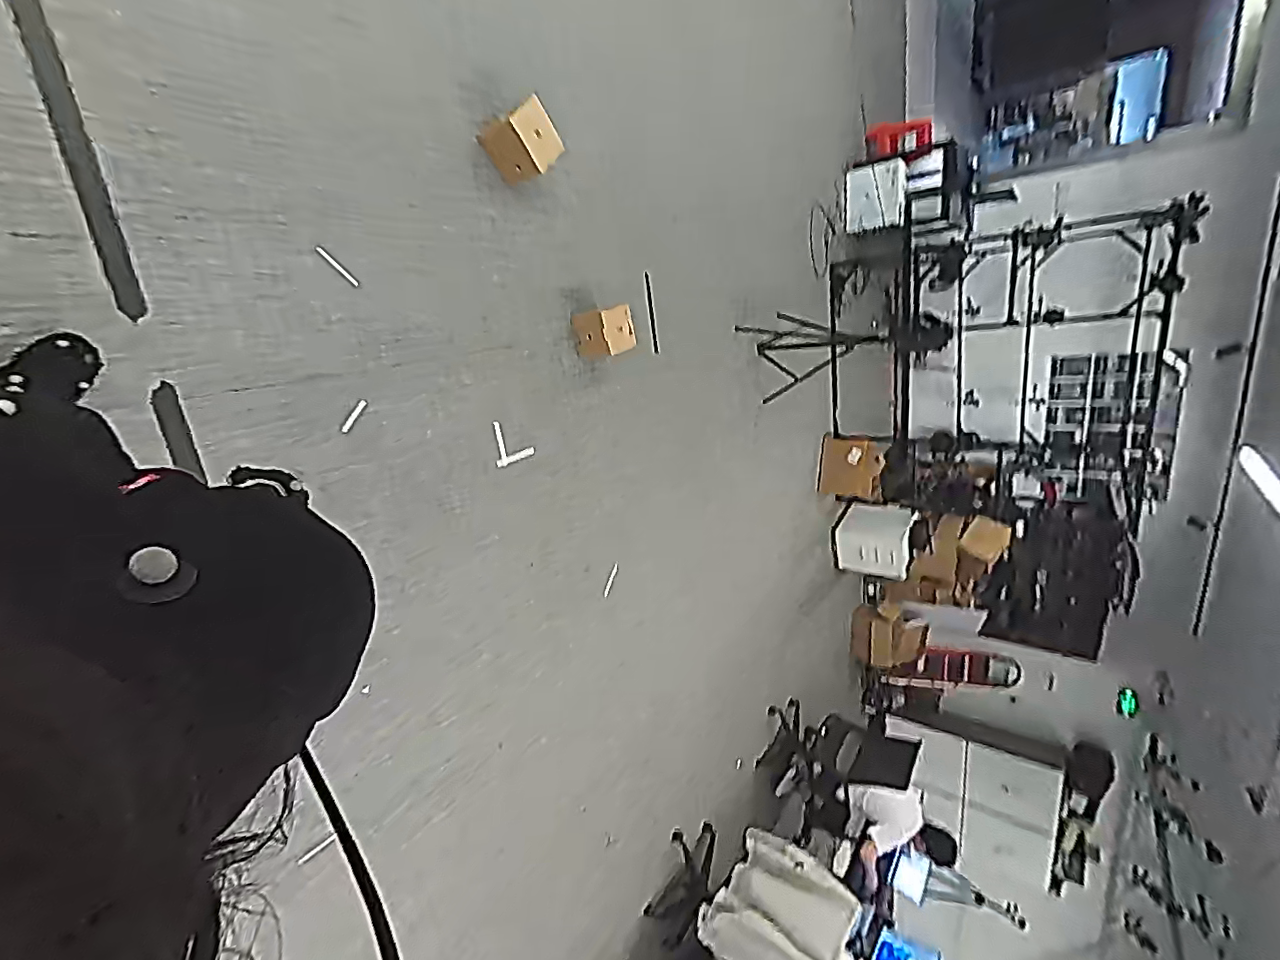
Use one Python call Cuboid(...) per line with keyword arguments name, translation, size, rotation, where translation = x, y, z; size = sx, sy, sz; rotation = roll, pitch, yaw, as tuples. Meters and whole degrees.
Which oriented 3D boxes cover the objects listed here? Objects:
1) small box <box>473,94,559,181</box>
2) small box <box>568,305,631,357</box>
Cuboid(name="small box", translation=(-0.406, -1.112, 1.775), size=(0.179, 0.176, 0.168), rotation=(52, 53, -42))
Cuboid(name="small box", translation=(-0.167, -0.592, 2.154), size=(0.179, 0.176, 0.168), rotation=(-35, 121, -44))
